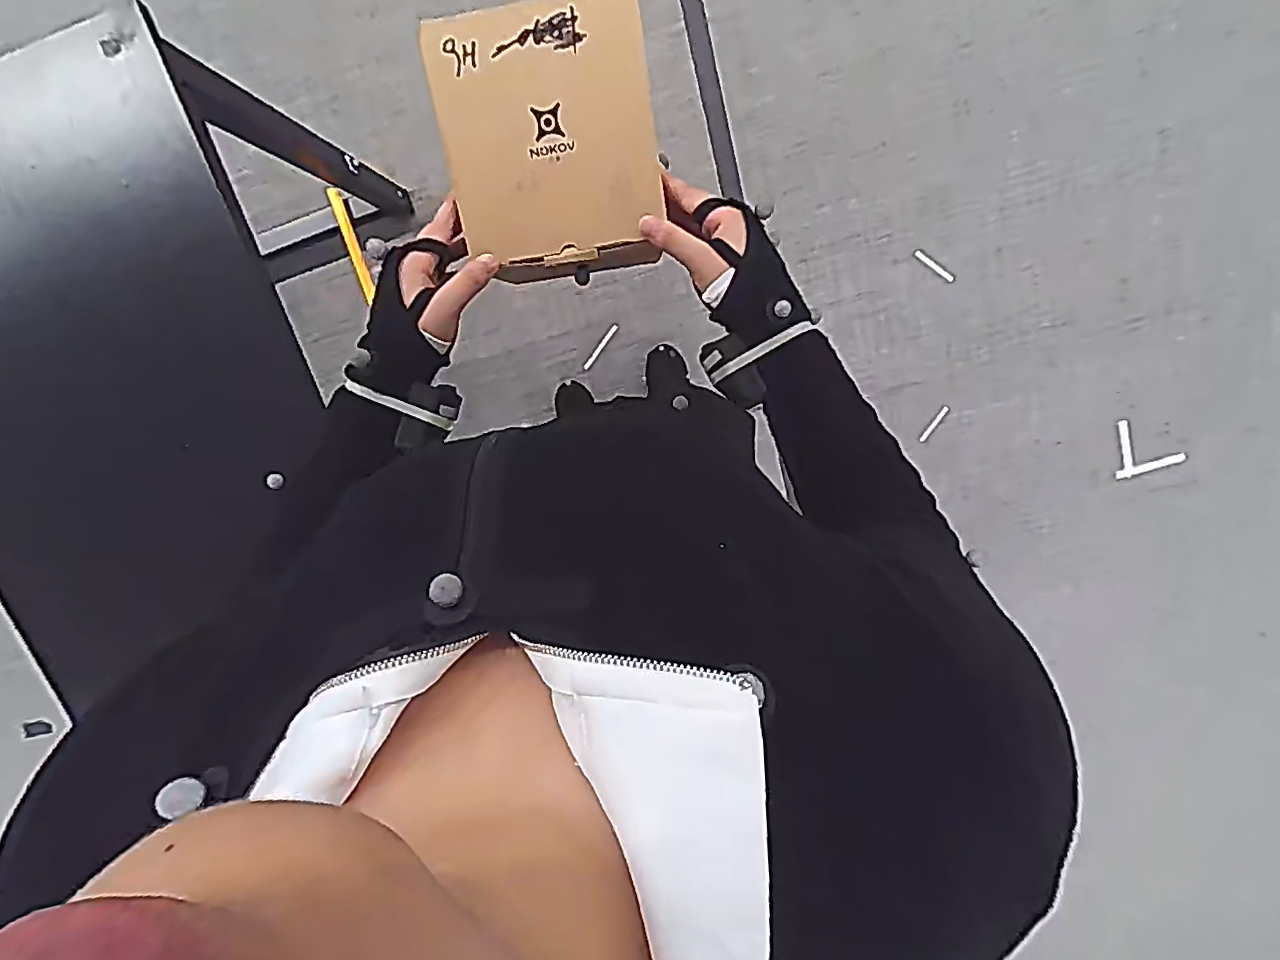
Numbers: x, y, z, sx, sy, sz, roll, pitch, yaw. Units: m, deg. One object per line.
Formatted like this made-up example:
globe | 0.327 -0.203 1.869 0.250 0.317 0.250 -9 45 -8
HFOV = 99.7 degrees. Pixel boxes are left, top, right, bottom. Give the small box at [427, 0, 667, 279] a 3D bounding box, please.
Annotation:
small box | -0.067 -0.290 0.504 0.168 0.176 0.179 -9 107 3
